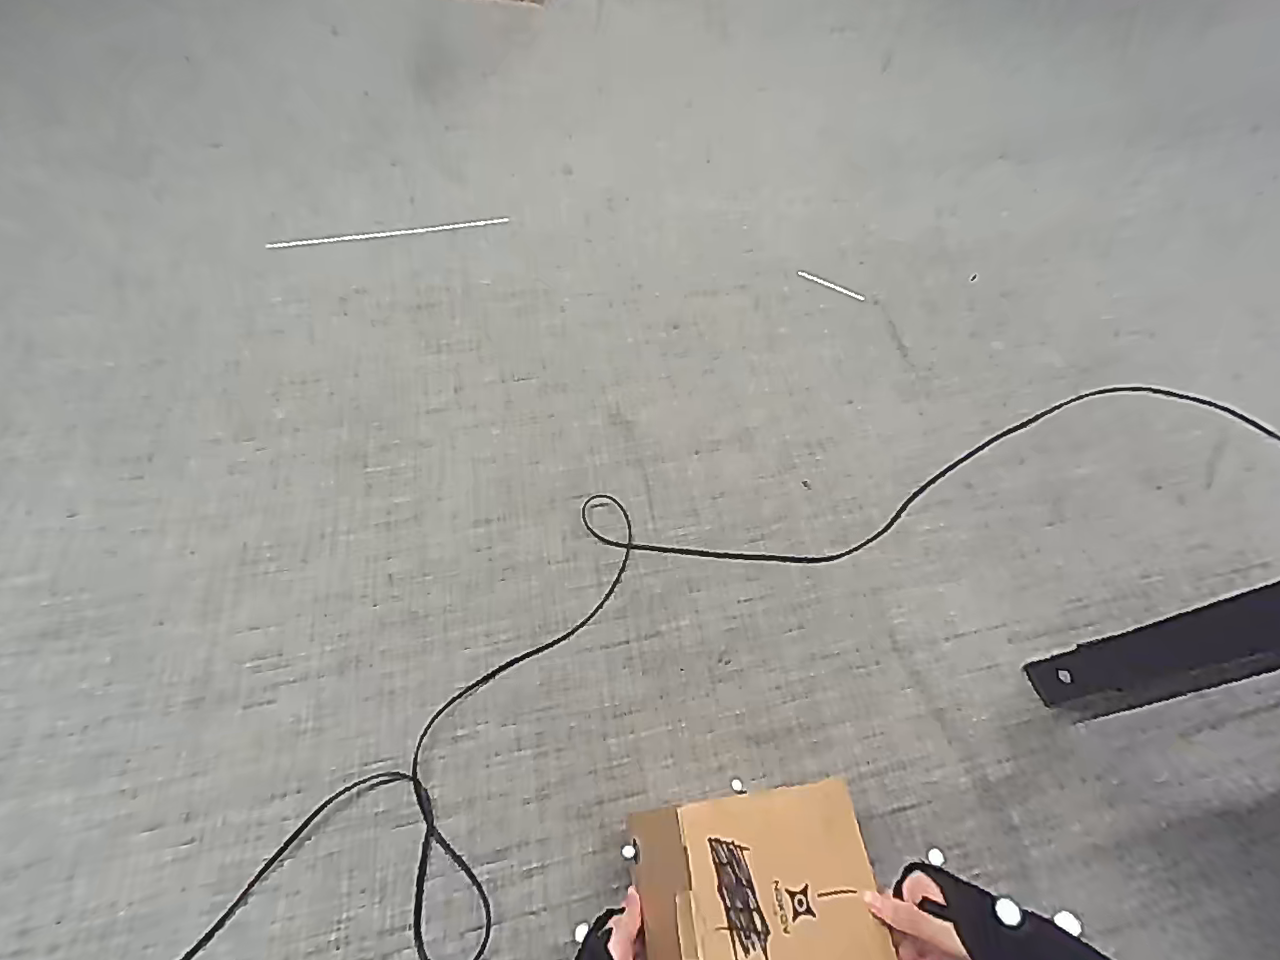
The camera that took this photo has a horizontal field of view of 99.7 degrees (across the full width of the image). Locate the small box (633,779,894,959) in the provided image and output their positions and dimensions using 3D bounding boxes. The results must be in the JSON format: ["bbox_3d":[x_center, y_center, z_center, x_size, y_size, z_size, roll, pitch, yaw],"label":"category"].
[{"bbox_3d":[0.100,0.396,0.515,0.179,0.176,0.168,4,56,-20],"label":"small box"}]
